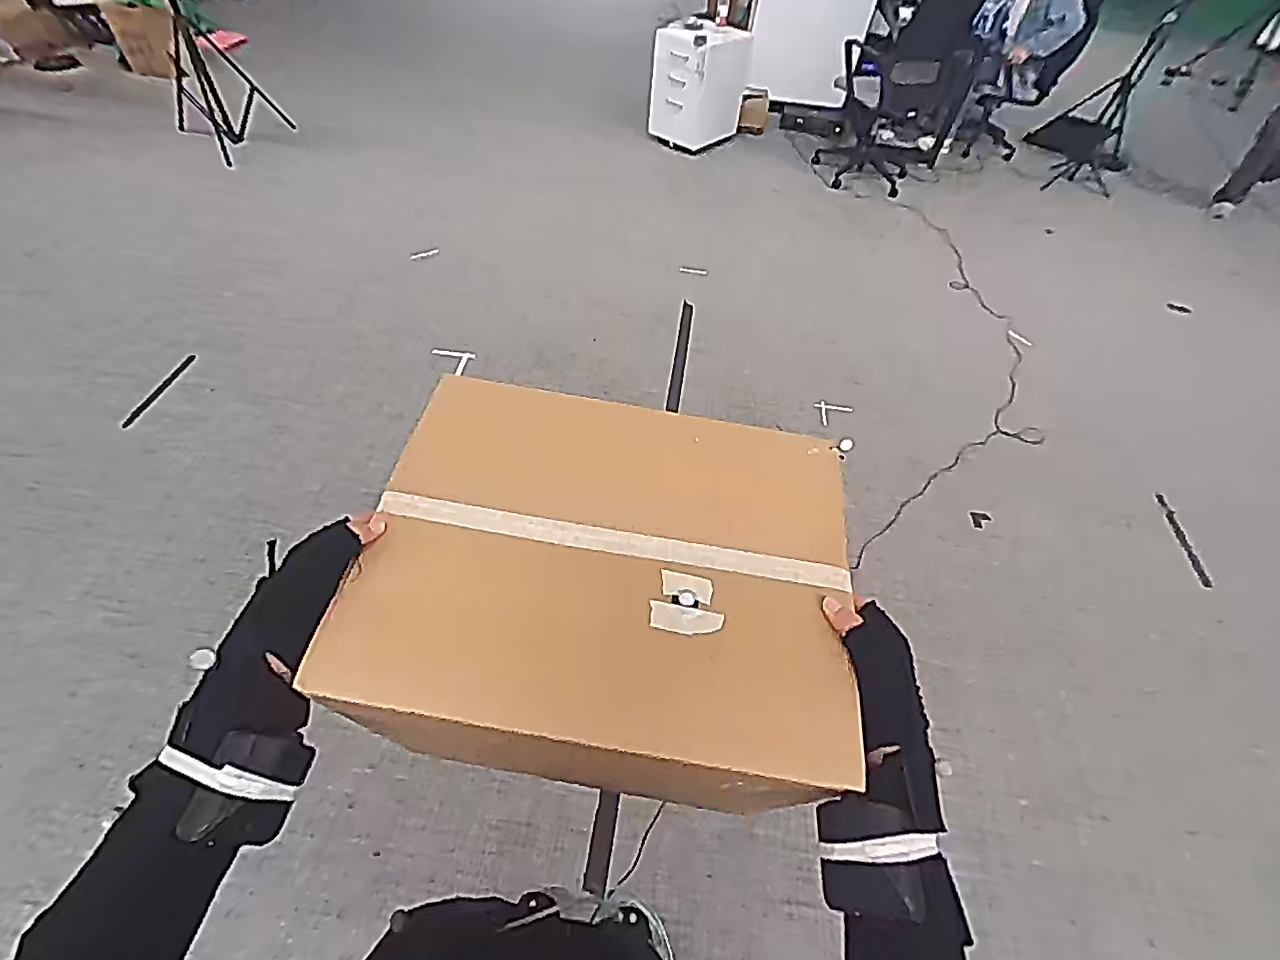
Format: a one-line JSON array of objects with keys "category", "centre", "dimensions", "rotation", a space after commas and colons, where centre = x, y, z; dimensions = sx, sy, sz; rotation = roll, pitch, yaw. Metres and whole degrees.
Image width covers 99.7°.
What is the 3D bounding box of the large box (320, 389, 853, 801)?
[{"category": "large box", "centre": [-0.035, 0.141, 0.598], "dimensions": [0.408, 0.320, 0.320], "rotation": [10, 57, 0]}]
